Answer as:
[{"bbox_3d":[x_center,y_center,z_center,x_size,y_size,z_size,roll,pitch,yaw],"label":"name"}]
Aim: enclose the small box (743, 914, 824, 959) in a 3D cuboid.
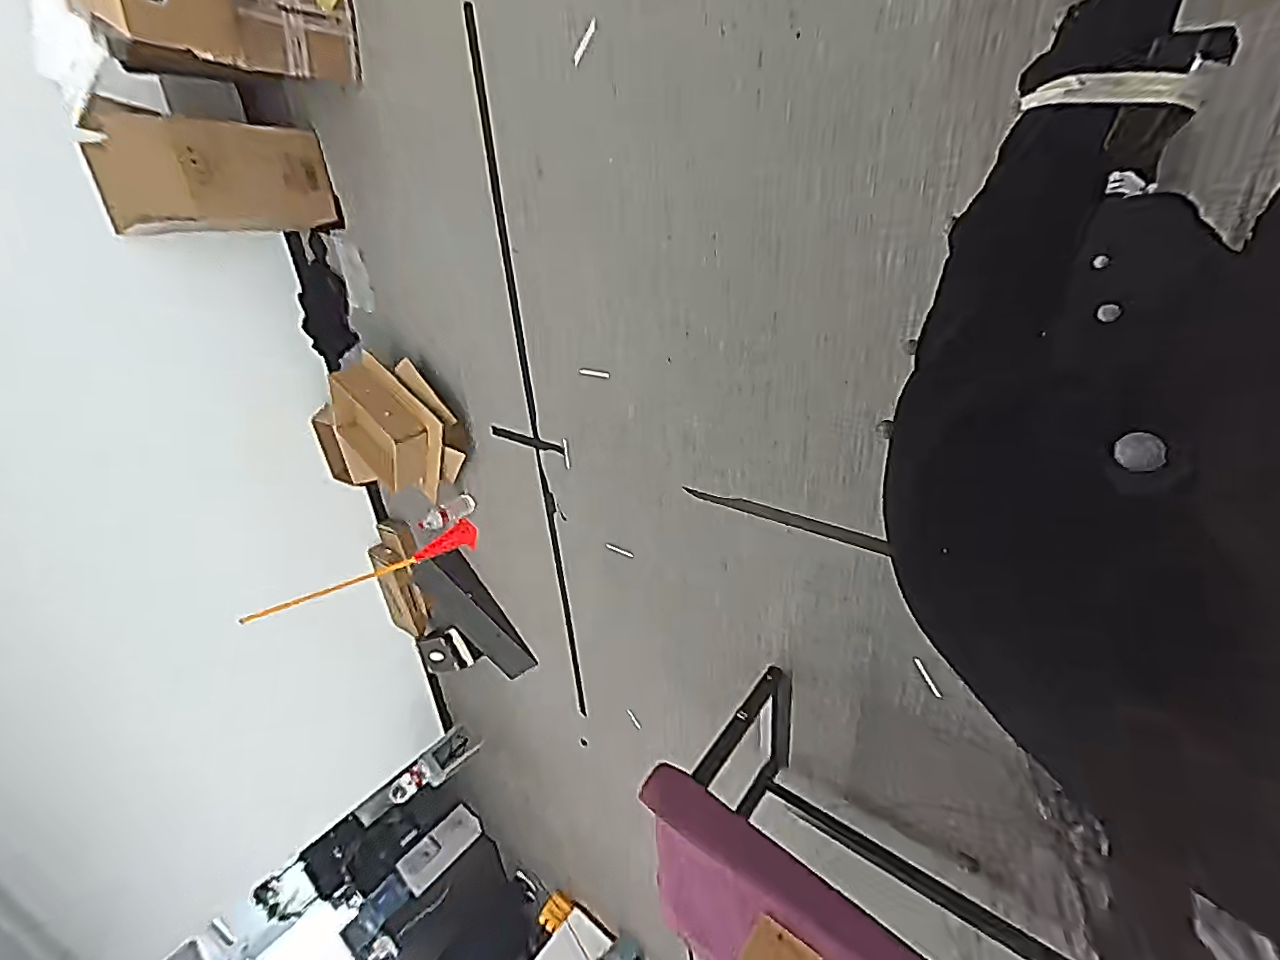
[{"bbox_3d":[0.351,1.256,1.360,0.168,0.176,0.179,16,124,35],"label":"small box"}]
